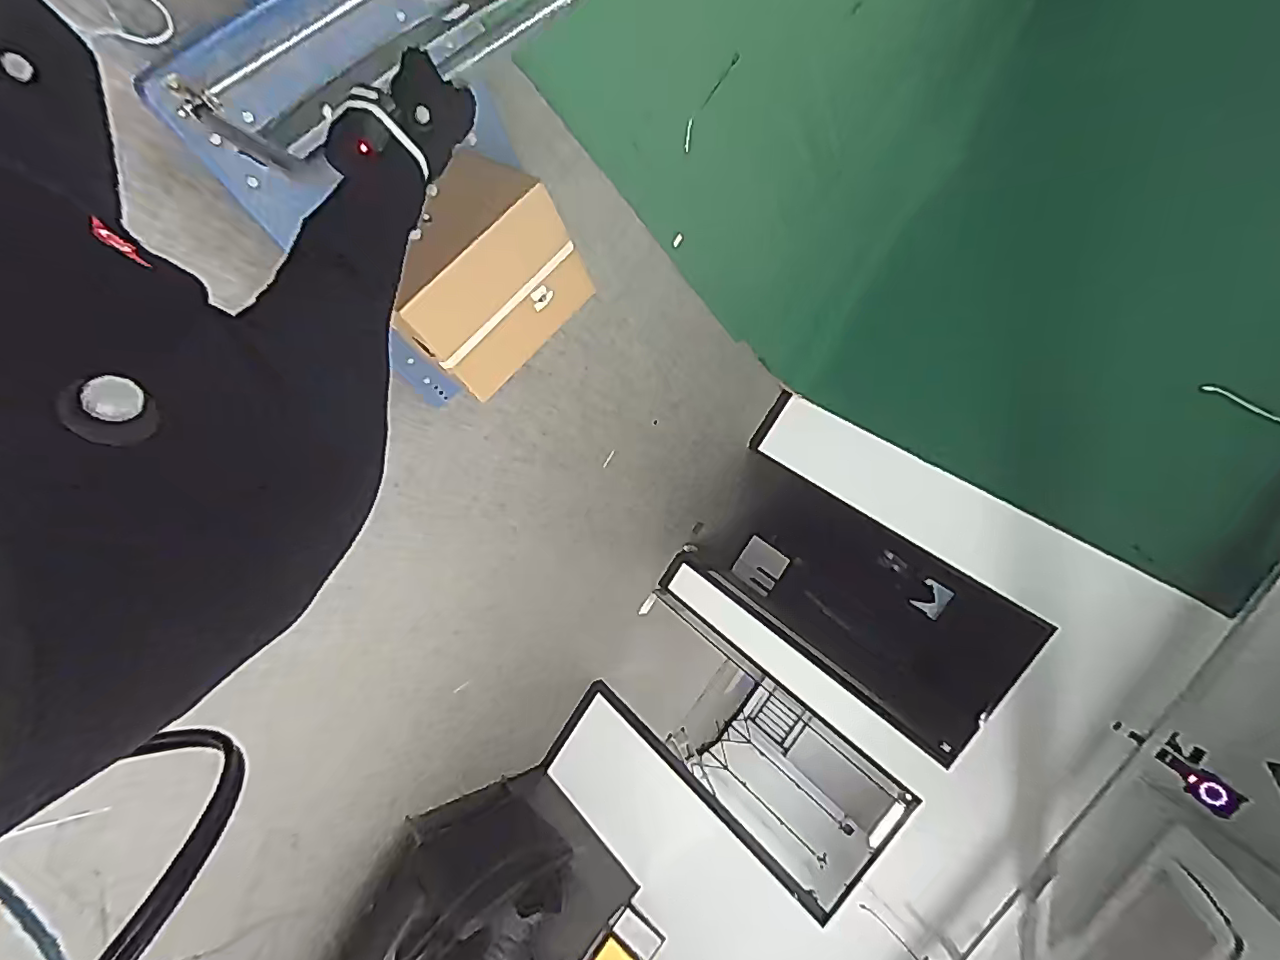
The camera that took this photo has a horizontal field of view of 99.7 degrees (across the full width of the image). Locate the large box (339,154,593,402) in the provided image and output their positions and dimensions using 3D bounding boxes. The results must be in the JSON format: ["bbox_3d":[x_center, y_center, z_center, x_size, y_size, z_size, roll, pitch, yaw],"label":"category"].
[{"bbox_3d":[-0.392,-0.470,1.266,0.408,0.320,0.320,-49,150,-10],"label":"large box"}]
